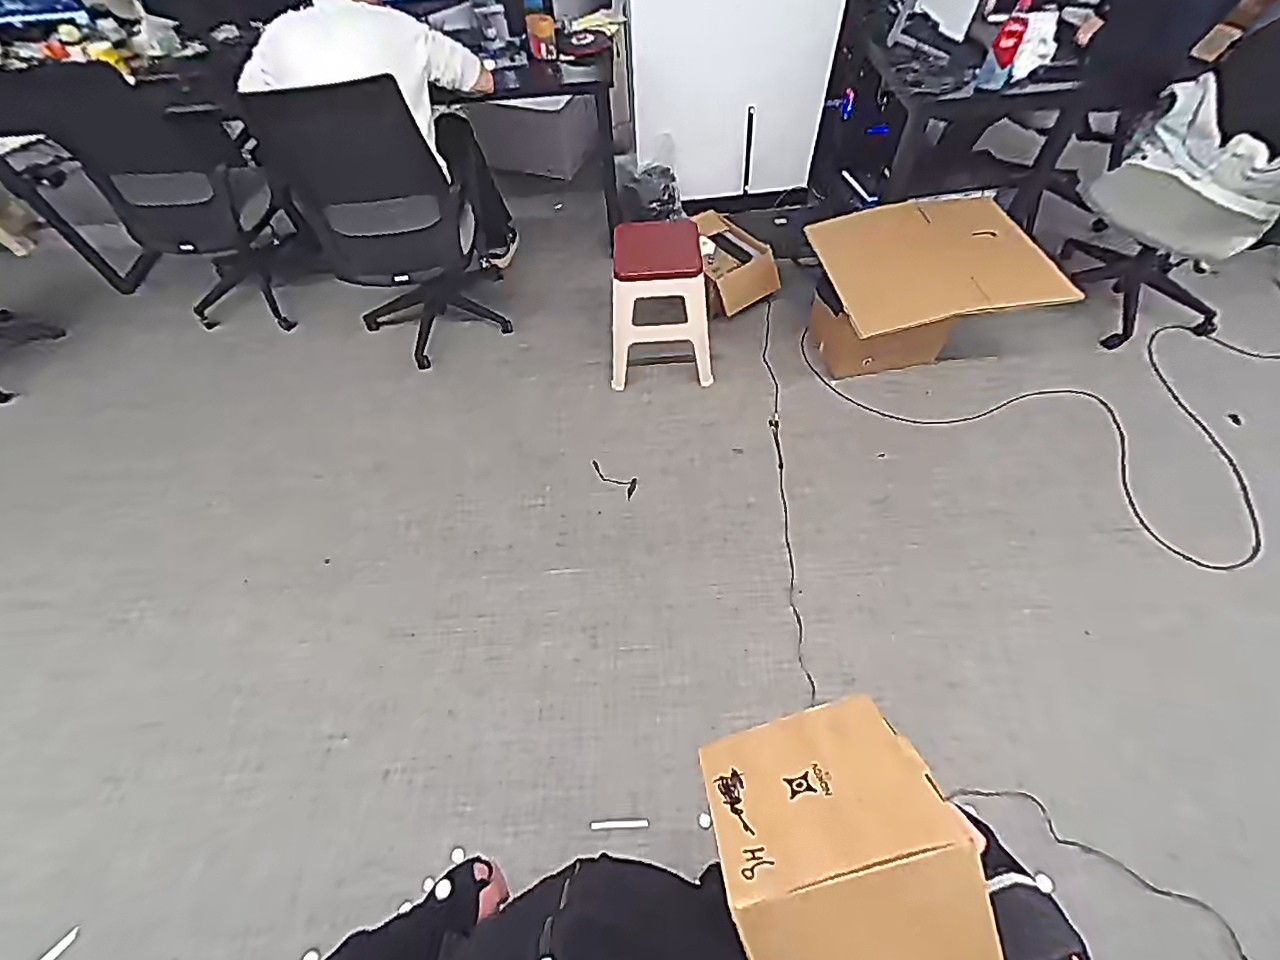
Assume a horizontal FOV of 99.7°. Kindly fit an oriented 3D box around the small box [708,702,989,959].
[{"bbox_3d":[0.175,0.338,0.479,0.179,0.168,0.176,-18,101,2],"label":"small box"}]
